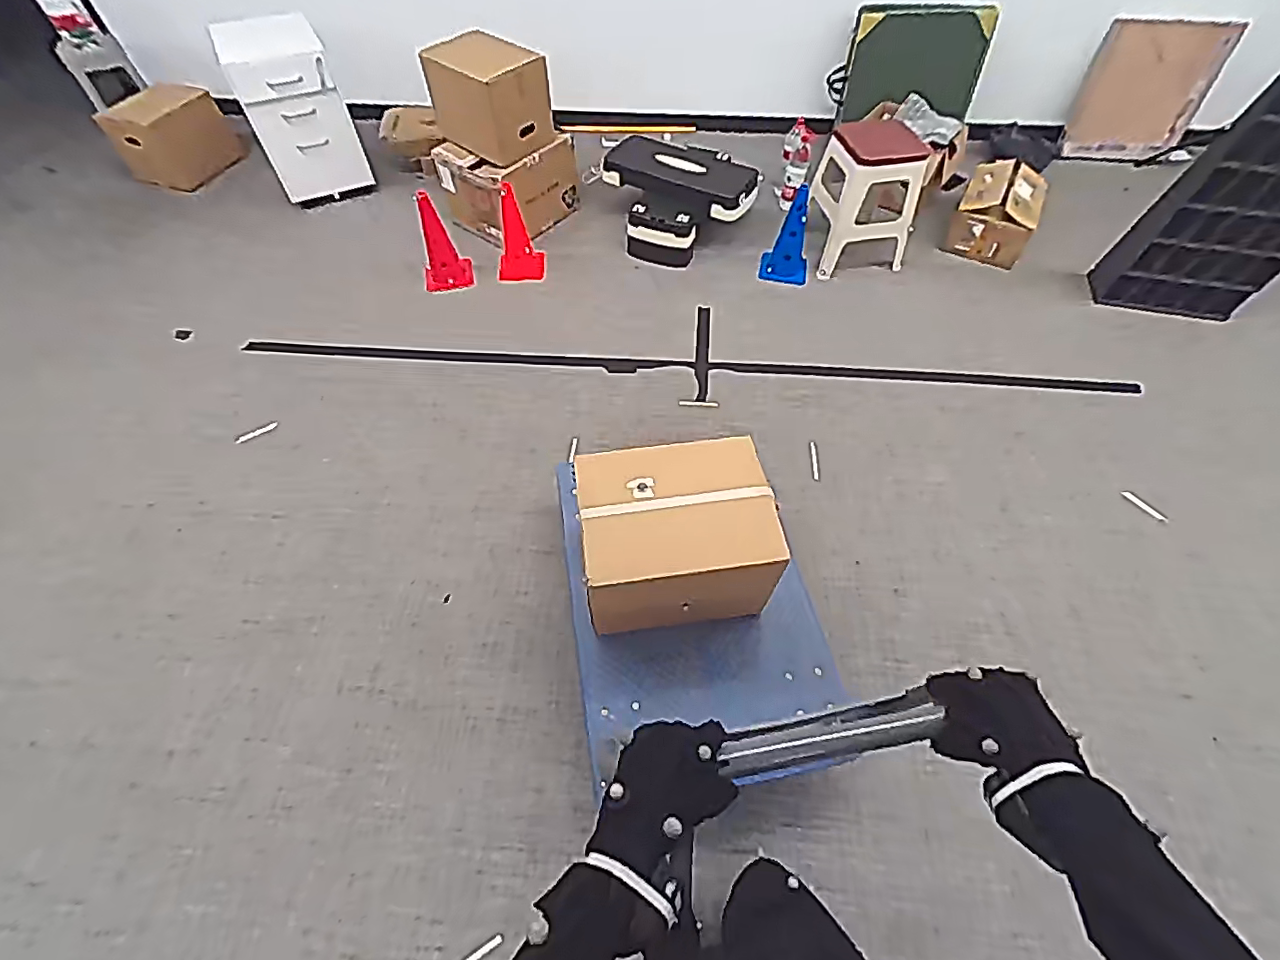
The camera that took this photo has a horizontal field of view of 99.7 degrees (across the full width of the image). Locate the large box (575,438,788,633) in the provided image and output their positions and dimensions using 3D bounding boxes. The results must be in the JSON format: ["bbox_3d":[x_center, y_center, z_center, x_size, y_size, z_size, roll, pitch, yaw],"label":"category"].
[{"bbox_3d":[0.077,0.137,1.253,0.408,0.320,0.320,-7,57,-4],"label":"large box"}]
